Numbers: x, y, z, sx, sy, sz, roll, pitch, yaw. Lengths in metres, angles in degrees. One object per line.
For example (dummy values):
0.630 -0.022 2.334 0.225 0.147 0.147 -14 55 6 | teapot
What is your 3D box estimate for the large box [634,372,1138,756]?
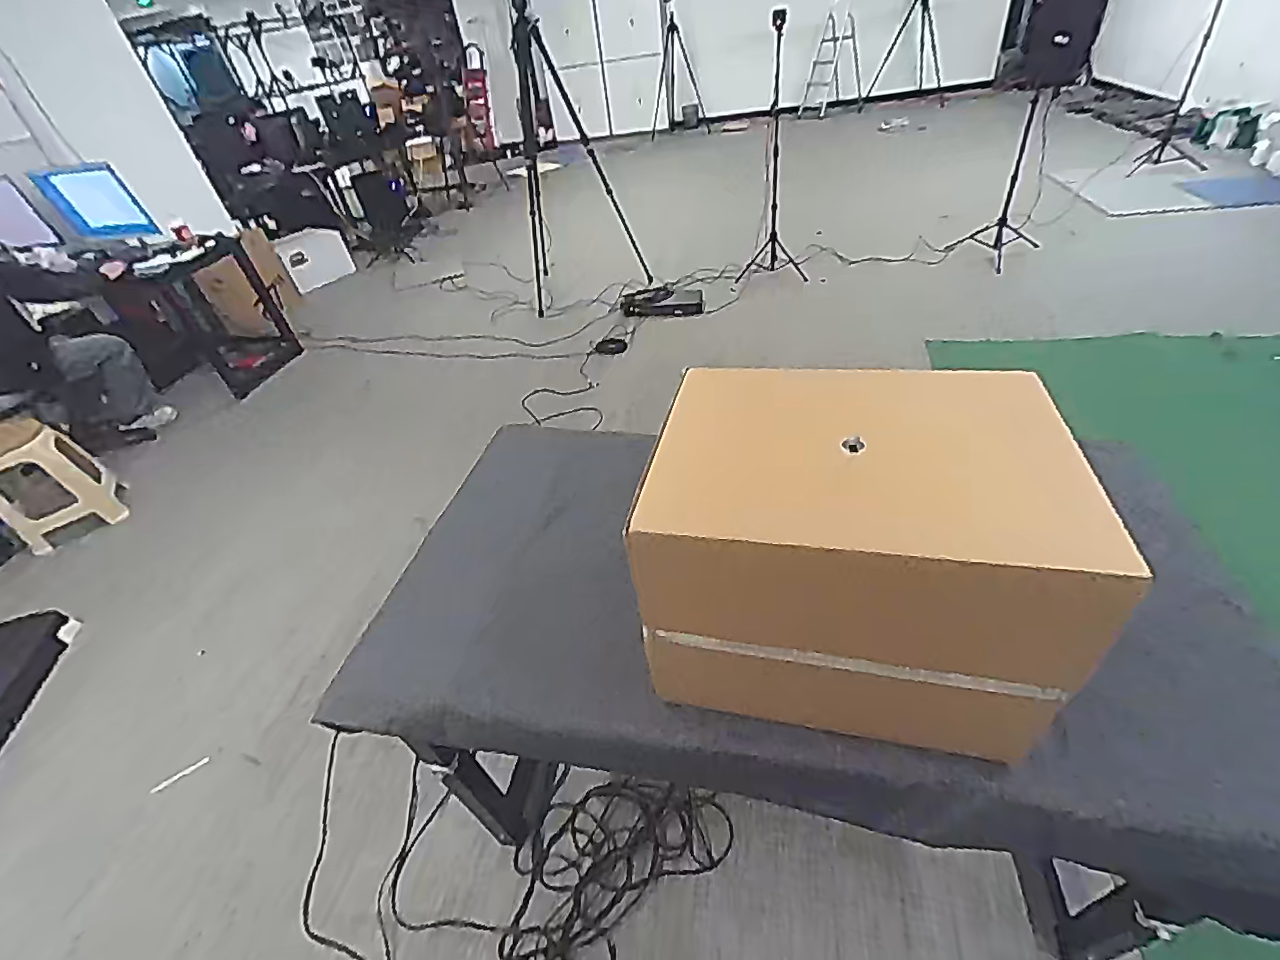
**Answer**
0.235 0.084 0.651 0.408 0.320 0.320 4 40 14 | large box
